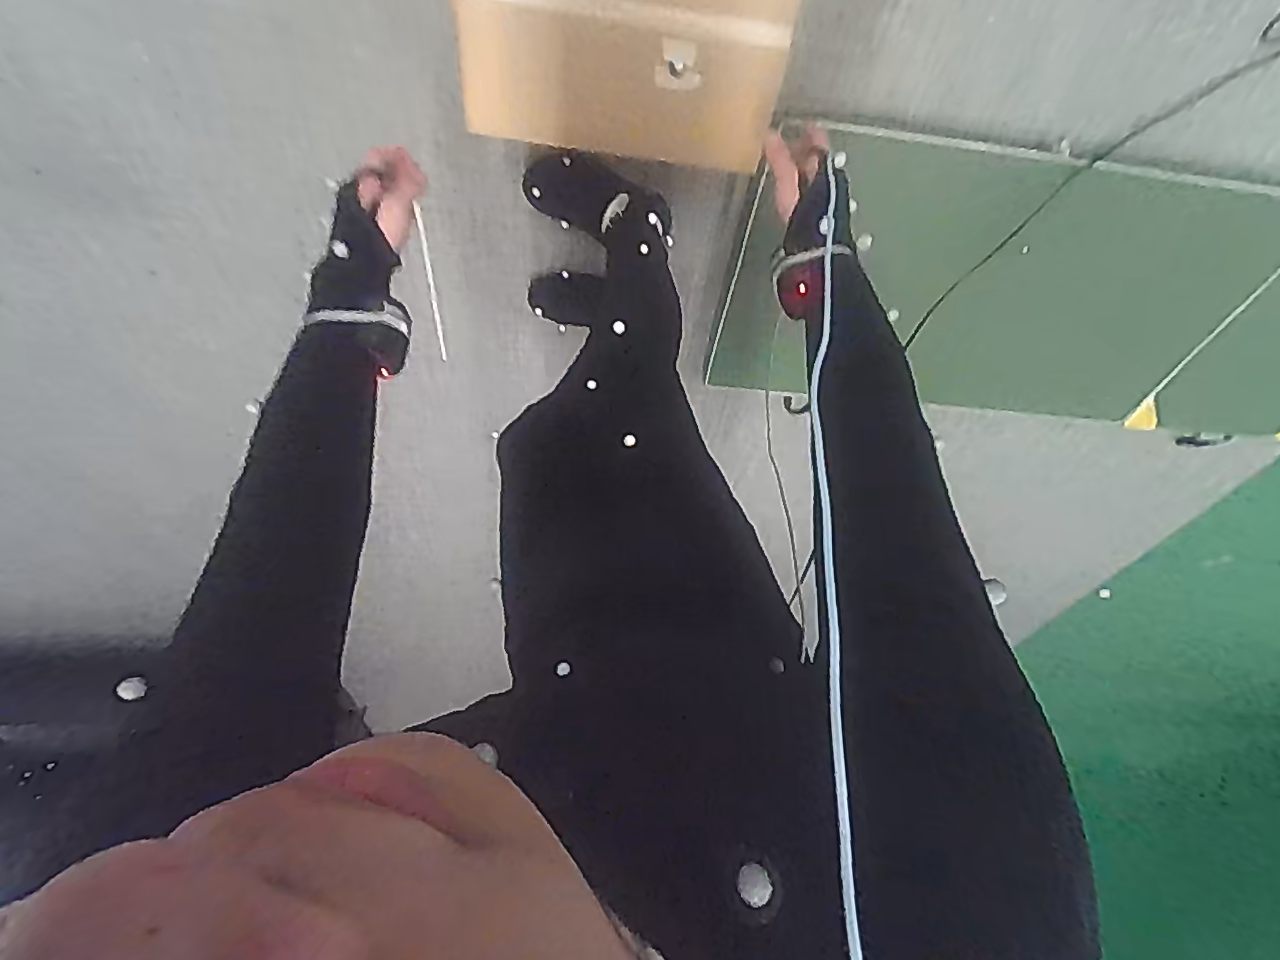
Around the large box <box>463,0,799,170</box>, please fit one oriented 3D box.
[{"bbox_3d":[-0.020,-0.667,0.749,0.408,0.320,0.320,3,136,-8],"label":"large box"}]
